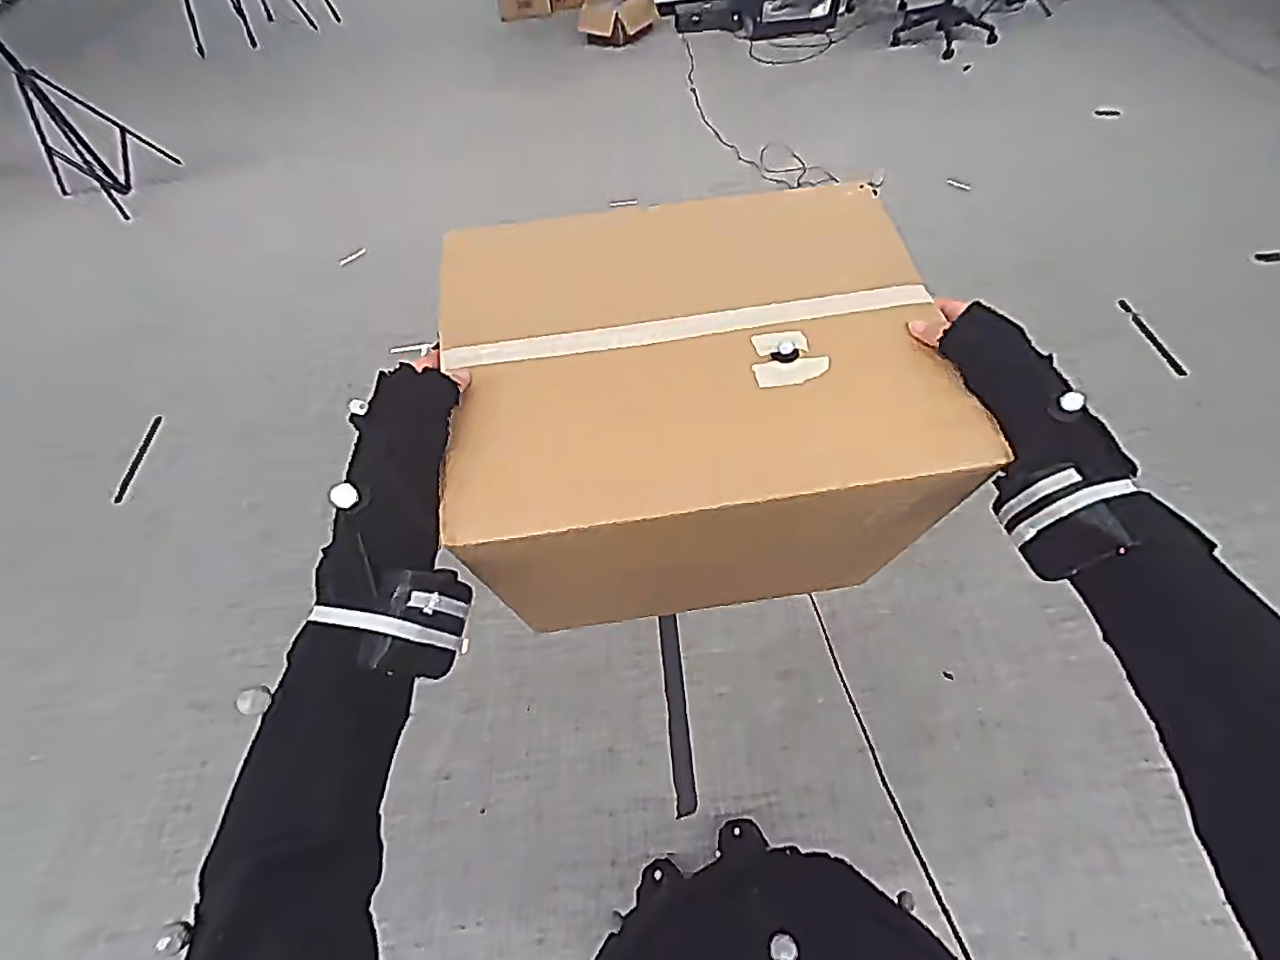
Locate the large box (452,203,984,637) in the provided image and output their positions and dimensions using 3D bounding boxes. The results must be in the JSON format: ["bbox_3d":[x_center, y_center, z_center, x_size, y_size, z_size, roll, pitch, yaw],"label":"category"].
[{"bbox_3d":[0.042,-0.043,0.590,0.408,0.320,0.320,-8,63,-2],"label":"large box"}]
